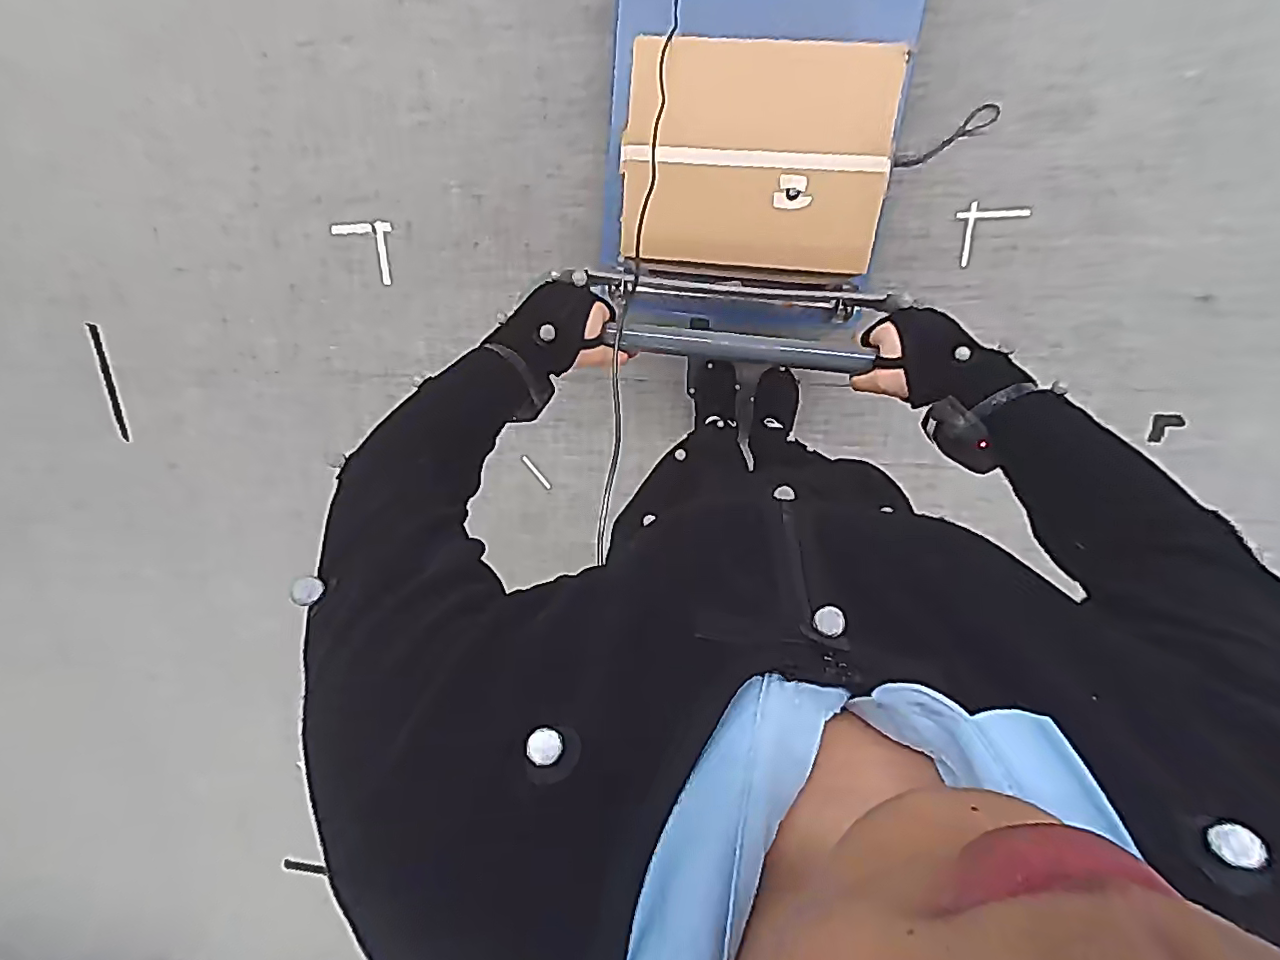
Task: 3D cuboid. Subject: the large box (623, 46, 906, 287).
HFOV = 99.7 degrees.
[{"bbox_3d":[0.195,-0.533,0.983,0.408,0.320,0.320,7,109,6],"label":"large box"}]
